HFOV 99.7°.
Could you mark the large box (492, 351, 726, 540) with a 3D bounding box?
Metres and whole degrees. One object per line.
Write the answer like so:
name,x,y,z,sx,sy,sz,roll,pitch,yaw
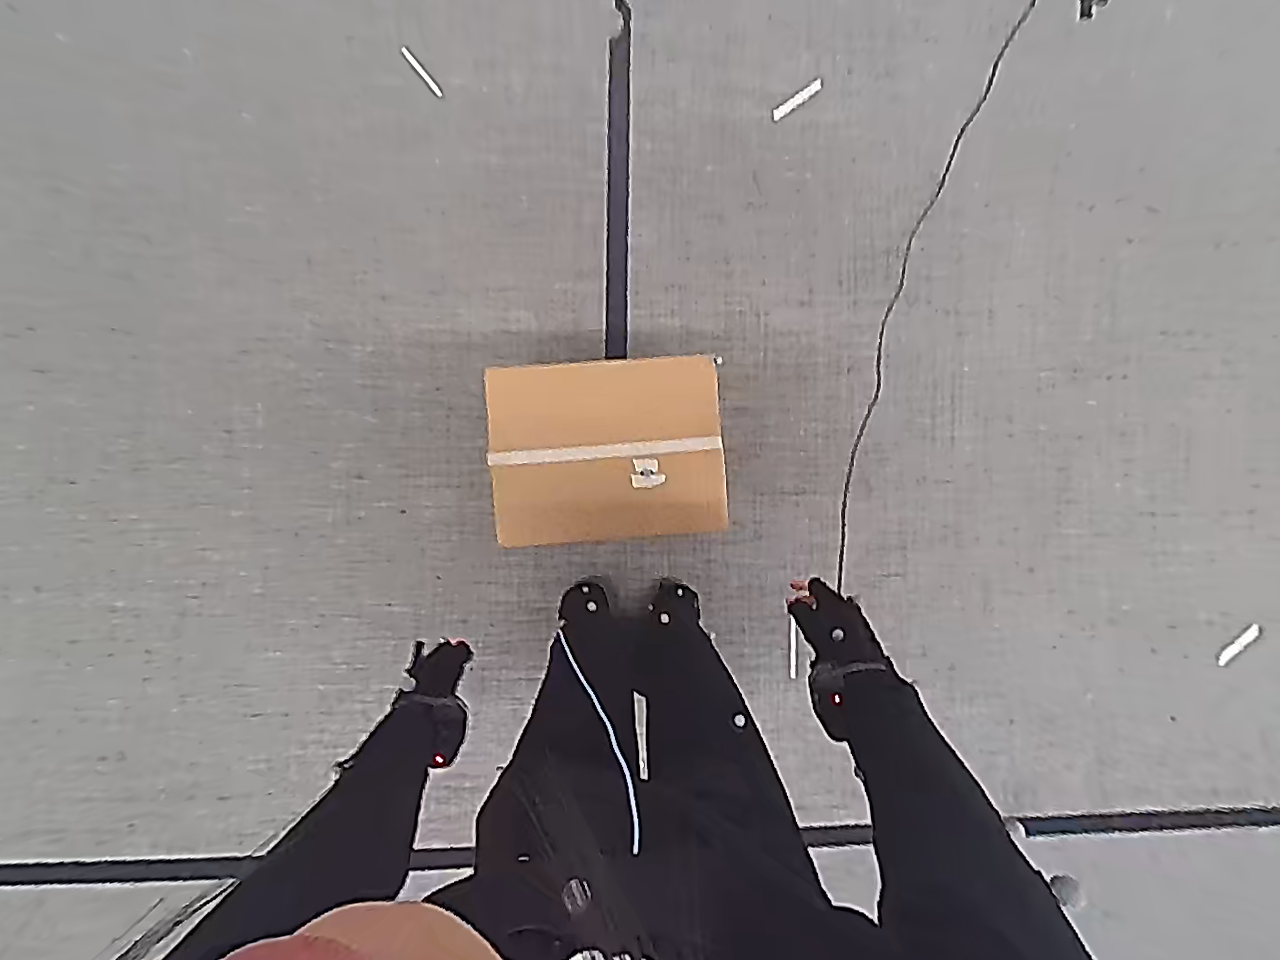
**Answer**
large box,-0.061,-0.061,1.112,0.408,0.320,0.320,-4,90,-2
